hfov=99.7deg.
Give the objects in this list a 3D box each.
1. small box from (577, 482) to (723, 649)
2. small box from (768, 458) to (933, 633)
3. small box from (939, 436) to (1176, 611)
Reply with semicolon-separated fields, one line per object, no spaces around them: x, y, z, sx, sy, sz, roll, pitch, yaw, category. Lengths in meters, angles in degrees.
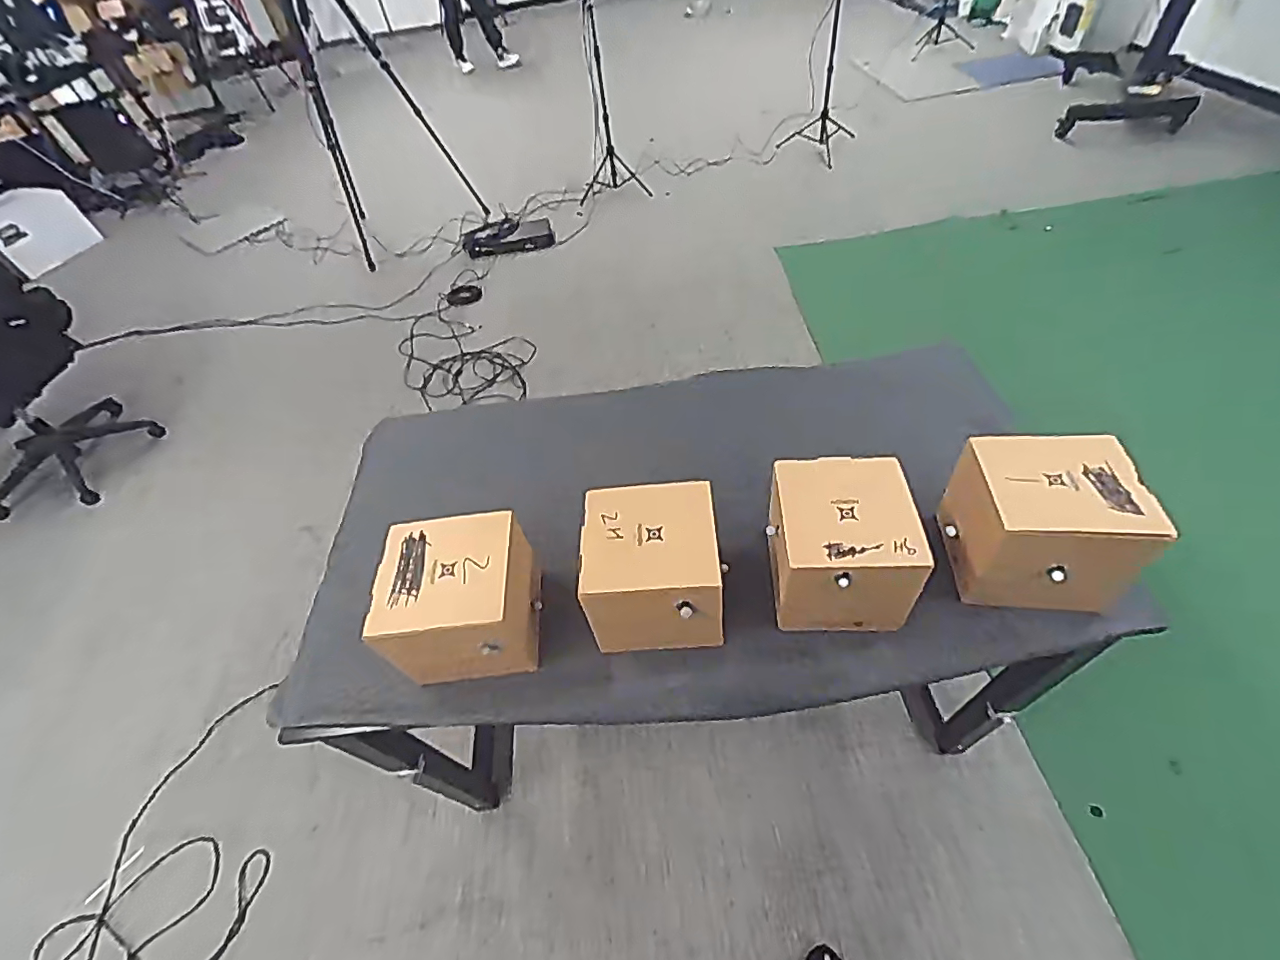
0.021;0.123;0.752;0.179;0.176;0.168;-5;49;6;small box
0.270;0.090;0.740;0.168;0.176;0.179;-1;48;8;small box
0.528;0.059;0.719;0.179;0.176;0.168;1;47;12;small box
